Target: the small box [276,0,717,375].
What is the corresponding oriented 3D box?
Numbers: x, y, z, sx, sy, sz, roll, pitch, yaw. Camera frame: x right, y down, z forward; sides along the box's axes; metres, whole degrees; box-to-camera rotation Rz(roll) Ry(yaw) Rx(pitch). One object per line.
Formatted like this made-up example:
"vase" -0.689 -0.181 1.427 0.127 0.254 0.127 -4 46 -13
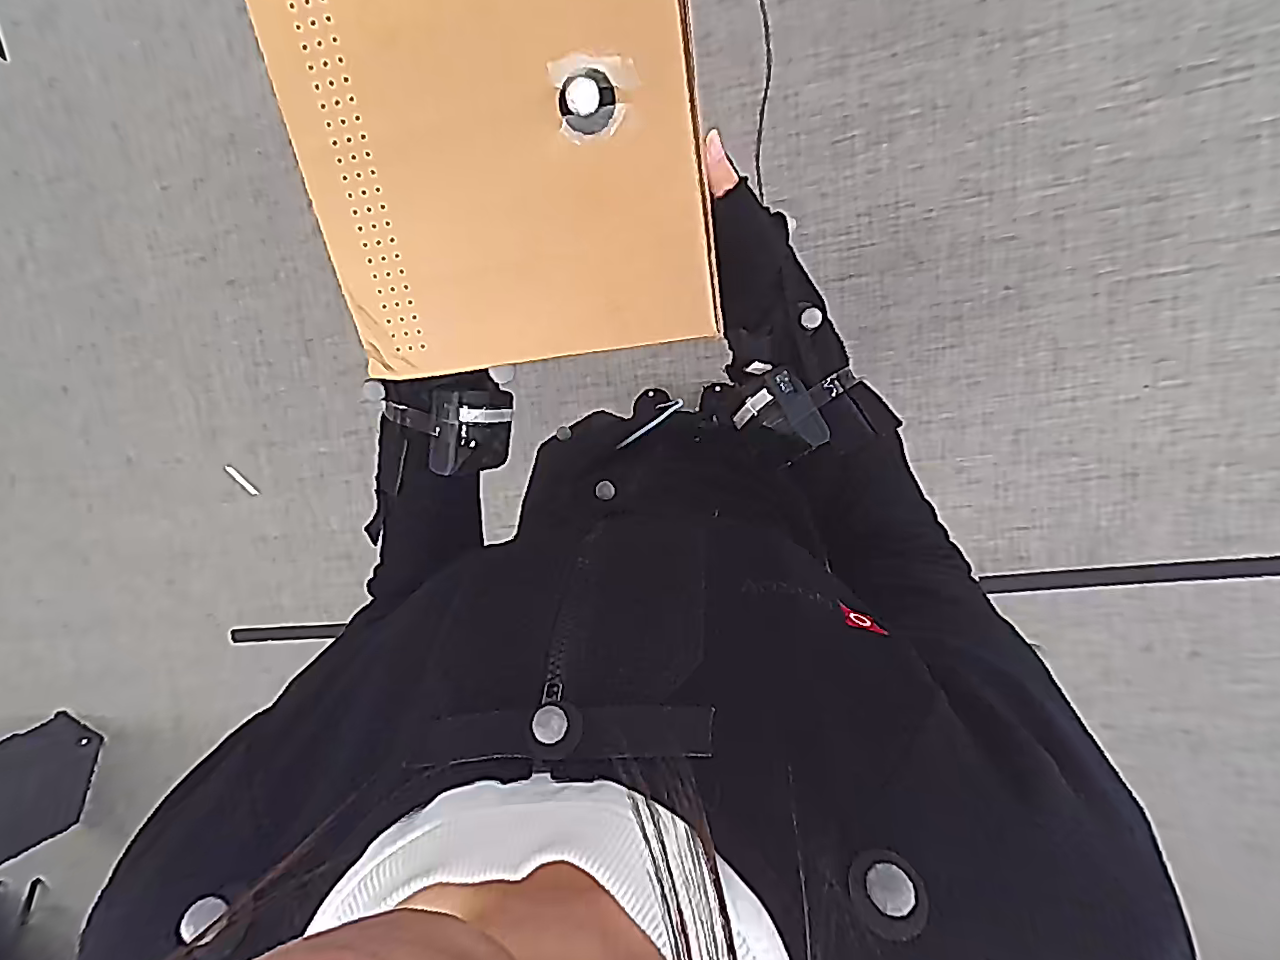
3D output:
"small box" -0.052 -0.167 0.298 0.176 0.168 0.179 -5 111 10
